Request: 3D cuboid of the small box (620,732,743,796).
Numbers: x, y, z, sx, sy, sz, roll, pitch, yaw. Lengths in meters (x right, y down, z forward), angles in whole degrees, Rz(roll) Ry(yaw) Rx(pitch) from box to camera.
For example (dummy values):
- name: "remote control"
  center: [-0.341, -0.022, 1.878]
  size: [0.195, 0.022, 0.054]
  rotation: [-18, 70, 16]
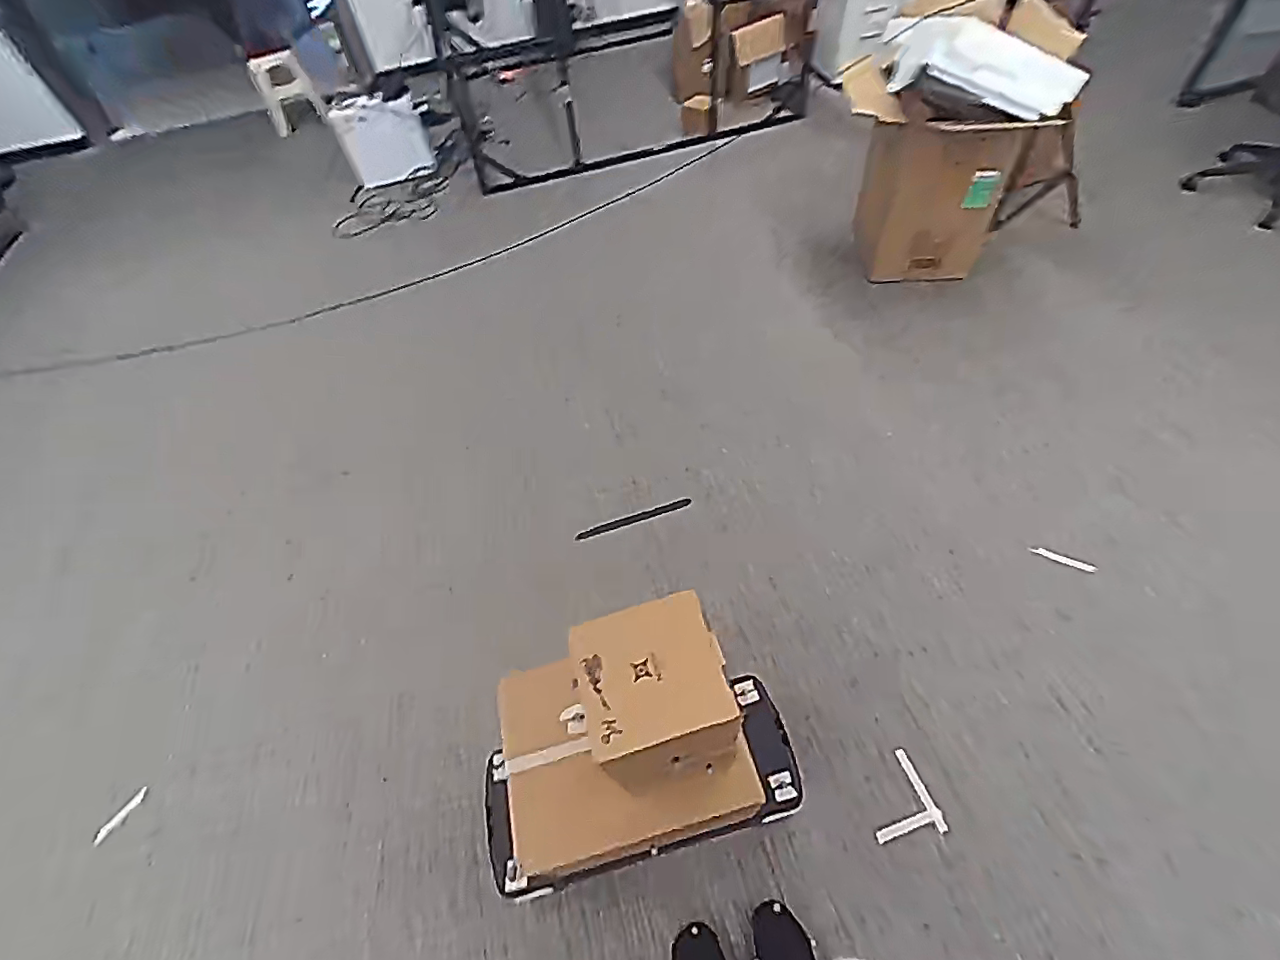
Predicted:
- name: "small box"
  center: [0.046, 0.369, 0.837]
  size: [0.179, 0.176, 0.168]
  rotation: [-16, 53, -3]

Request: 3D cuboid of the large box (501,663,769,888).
- name: "large box"
  center: [-0.006, 0.526, 1.034]
  size: [0.408, 0.320, 0.320]
  rotation: [-17, 53, -3]

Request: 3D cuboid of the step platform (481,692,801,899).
- name: "step platform"
  center: [-0.001, 0.694, 1.206]
  size: [0.684, 0.204, 0.286]
  rotation: [-12, 53, 0]

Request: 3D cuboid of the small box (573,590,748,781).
- name: "small box"
  center: [0.025, 0.271, 0.707]
  size: [0.179, 0.176, 0.168]
  rotation: [-16, 53, -5]
